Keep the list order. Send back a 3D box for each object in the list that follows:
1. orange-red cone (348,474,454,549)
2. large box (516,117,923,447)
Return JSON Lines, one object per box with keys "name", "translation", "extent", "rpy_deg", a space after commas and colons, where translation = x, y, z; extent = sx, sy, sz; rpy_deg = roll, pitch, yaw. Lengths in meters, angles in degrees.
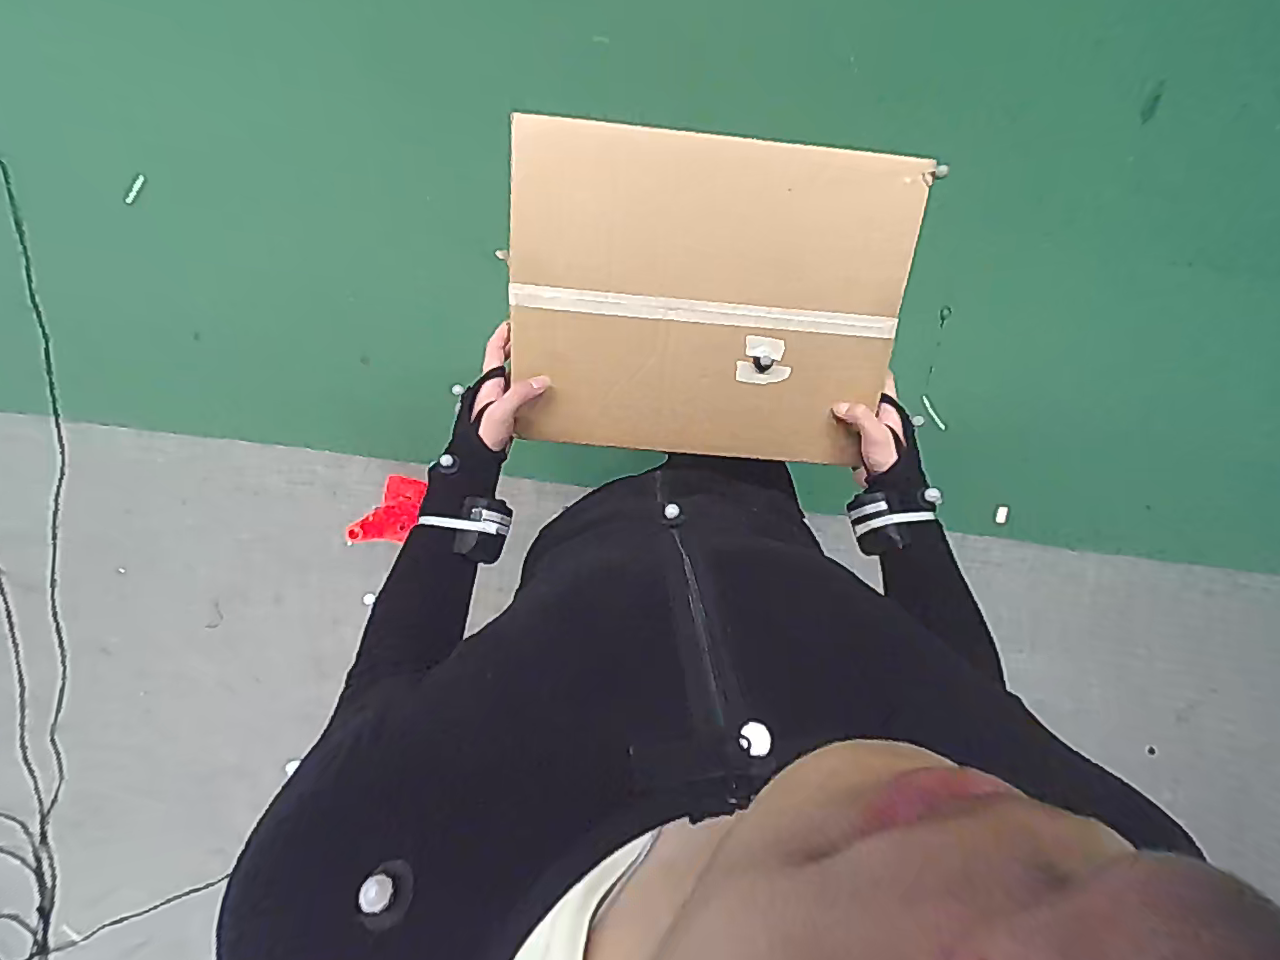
{"name": "orange-red cone", "translation": [-0.674, 0.108, 1.451], "extent": [0.199, 0.360, 0.198], "rpy_deg": [15, 94, 0]}
{"name": "large box", "translation": [0.065, -0.241, 0.708], "extent": [0.408, 0.320, 0.320], "rpy_deg": [3, 112, -4]}
